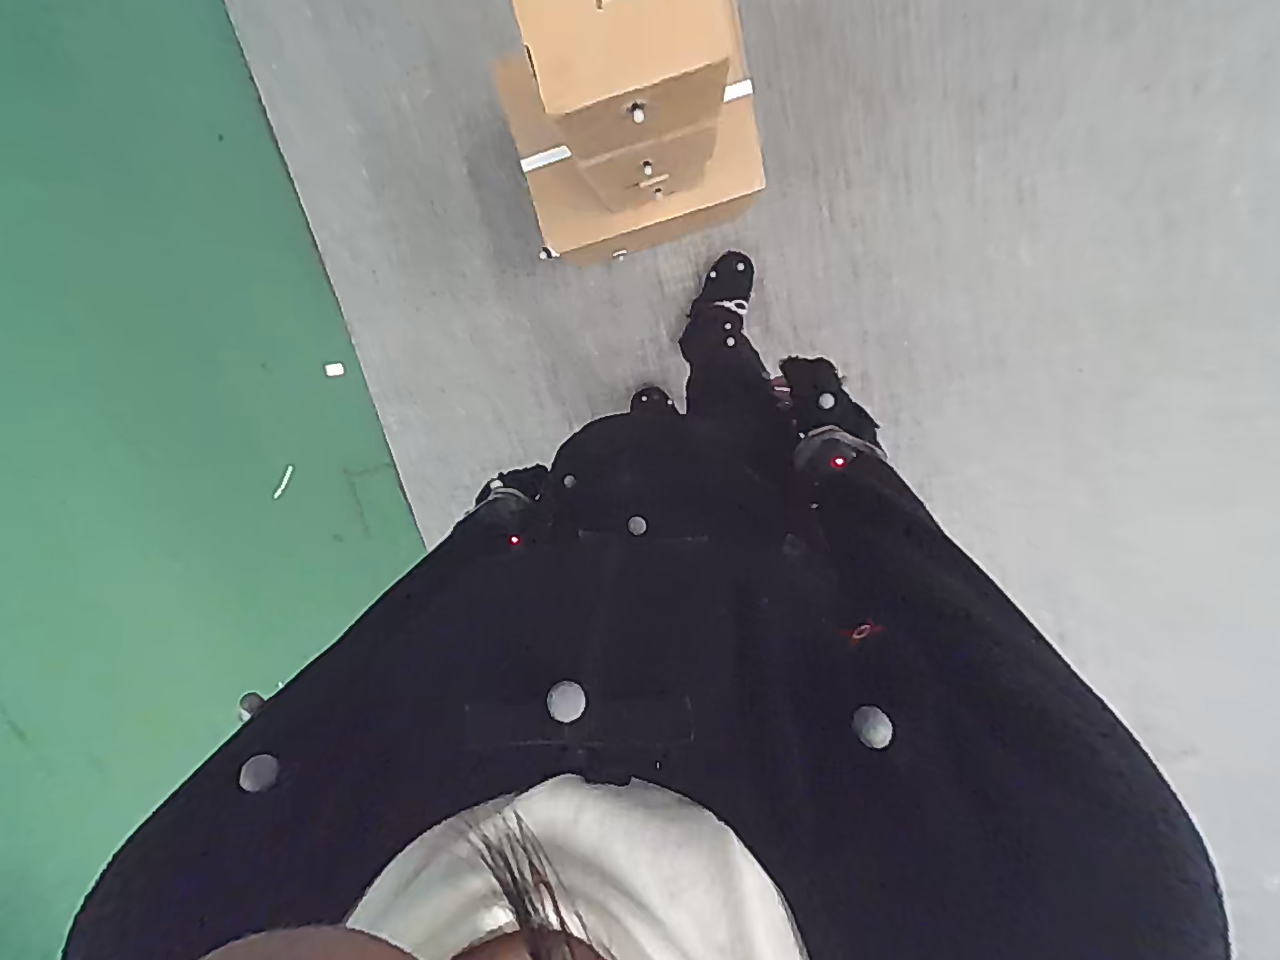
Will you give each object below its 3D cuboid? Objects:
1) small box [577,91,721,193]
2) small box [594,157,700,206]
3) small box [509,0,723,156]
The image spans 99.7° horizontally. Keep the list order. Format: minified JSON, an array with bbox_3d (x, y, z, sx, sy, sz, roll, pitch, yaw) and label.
[{"bbox_3d":[-0.007,-0.493,0.693,0.179,0.176,0.168,-16,106,9],"label":"small box"},{"bbox_3d":[-0.003,-0.548,0.848,0.168,0.176,0.179,-14,107,10],"label":"small box"},{"bbox_3d":[-0.022,-0.450,0.537,0.179,0.176,0.168,-12,107,8],"label":"small box"}]
